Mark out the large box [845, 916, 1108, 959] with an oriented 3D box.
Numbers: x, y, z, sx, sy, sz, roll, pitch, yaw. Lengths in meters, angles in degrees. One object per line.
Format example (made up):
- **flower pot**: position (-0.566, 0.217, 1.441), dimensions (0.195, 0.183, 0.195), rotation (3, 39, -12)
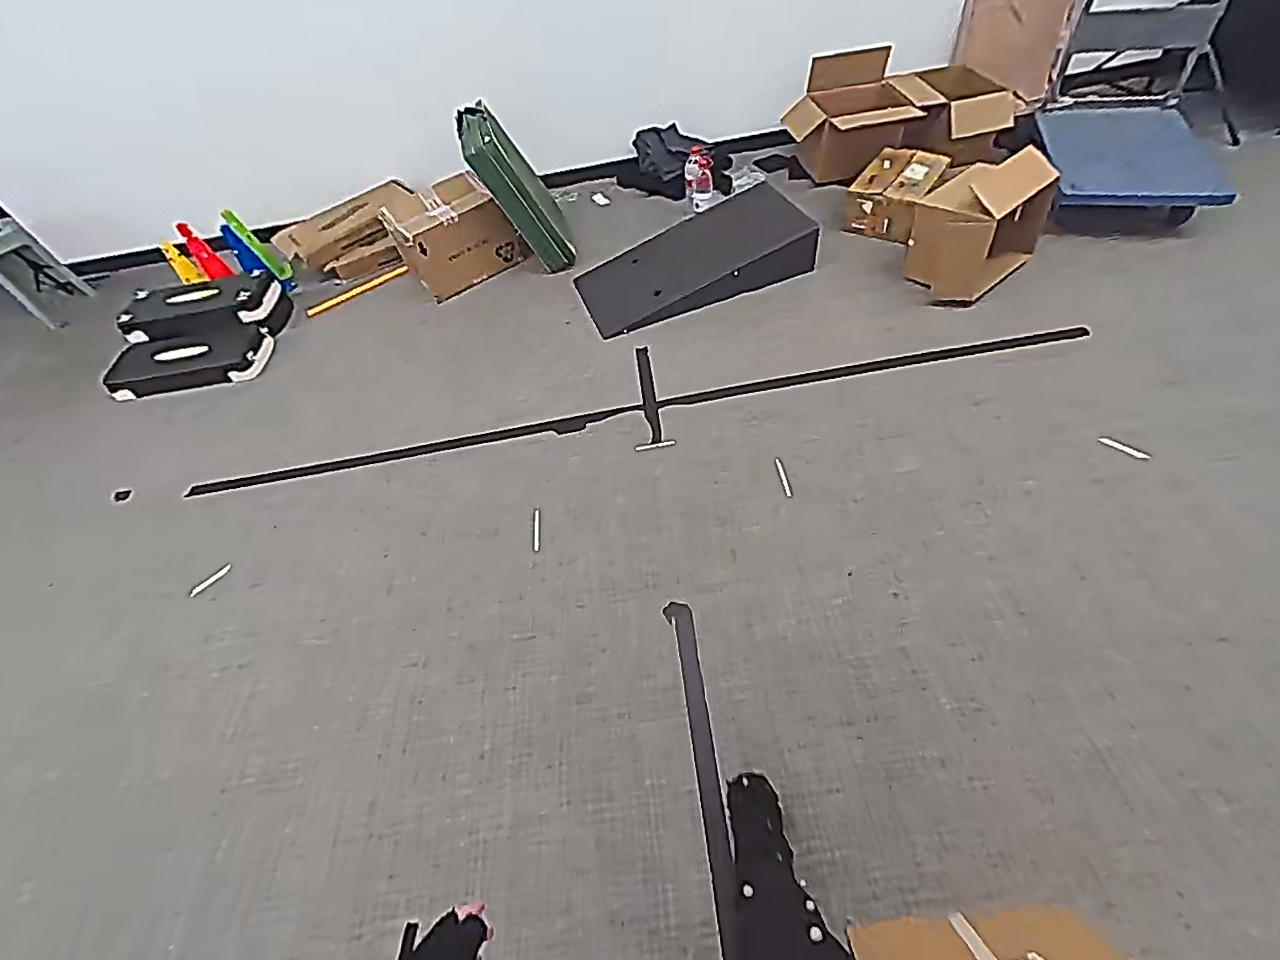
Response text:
- **large box**: position (0.451, 0.751, 0.563), dimensions (0.320, 0.408, 0.320), rotation (-9, 75, 6)
